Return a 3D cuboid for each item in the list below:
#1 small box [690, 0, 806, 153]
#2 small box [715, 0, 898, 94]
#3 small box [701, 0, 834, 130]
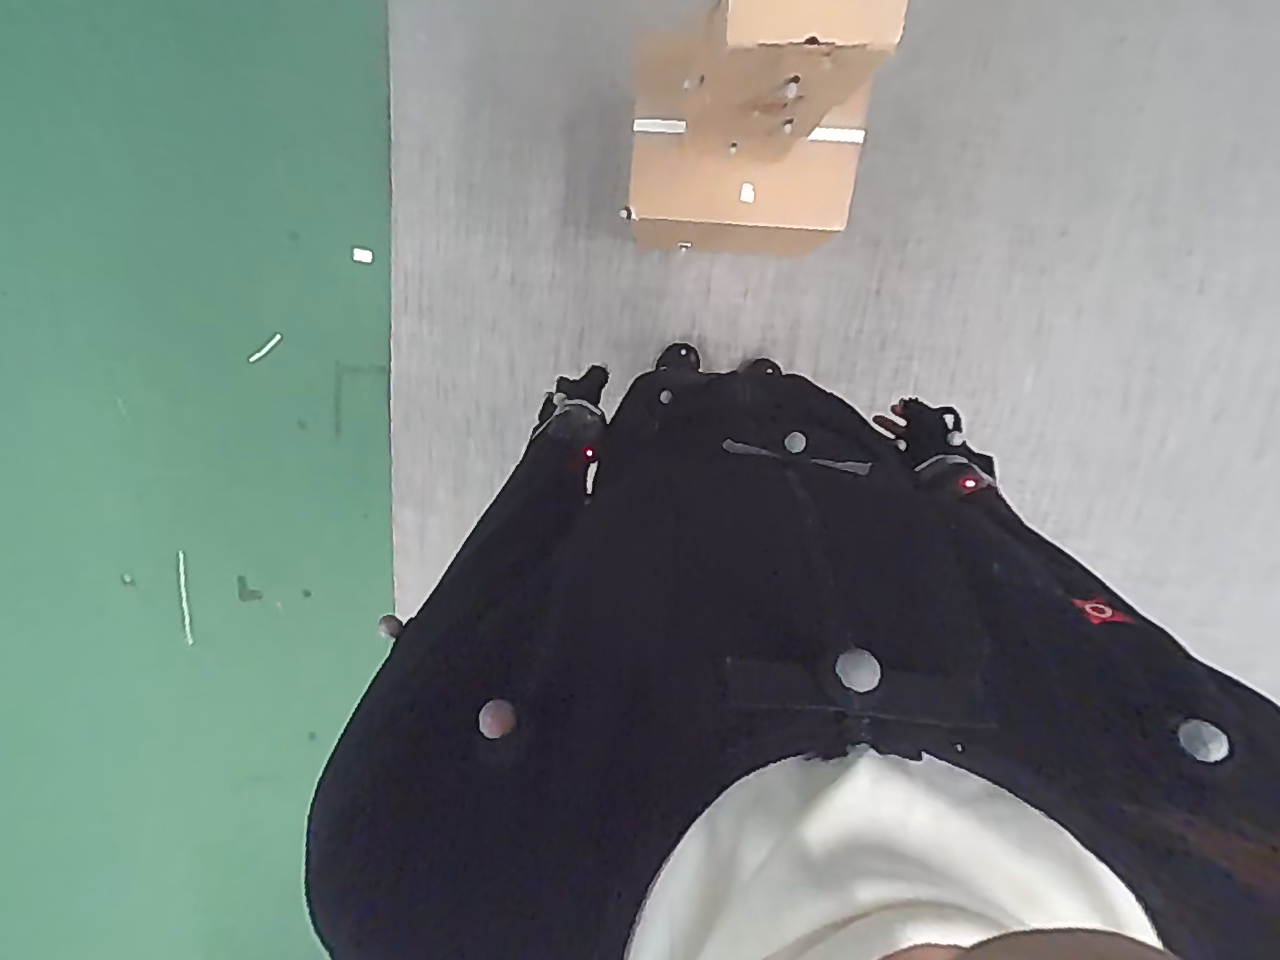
[{"bbox_3d":[0.176,-0.638,0.870,0.179,0.176,0.168,5,111,3],"label":"small box"},{"bbox_3d":[0.169,-0.527,0.564,0.168,0.176,0.179,3,111,4],"label":"small box"},{"bbox_3d":[0.169,-0.583,0.718,0.168,0.176,0.179,3,110,3],"label":"small box"}]
